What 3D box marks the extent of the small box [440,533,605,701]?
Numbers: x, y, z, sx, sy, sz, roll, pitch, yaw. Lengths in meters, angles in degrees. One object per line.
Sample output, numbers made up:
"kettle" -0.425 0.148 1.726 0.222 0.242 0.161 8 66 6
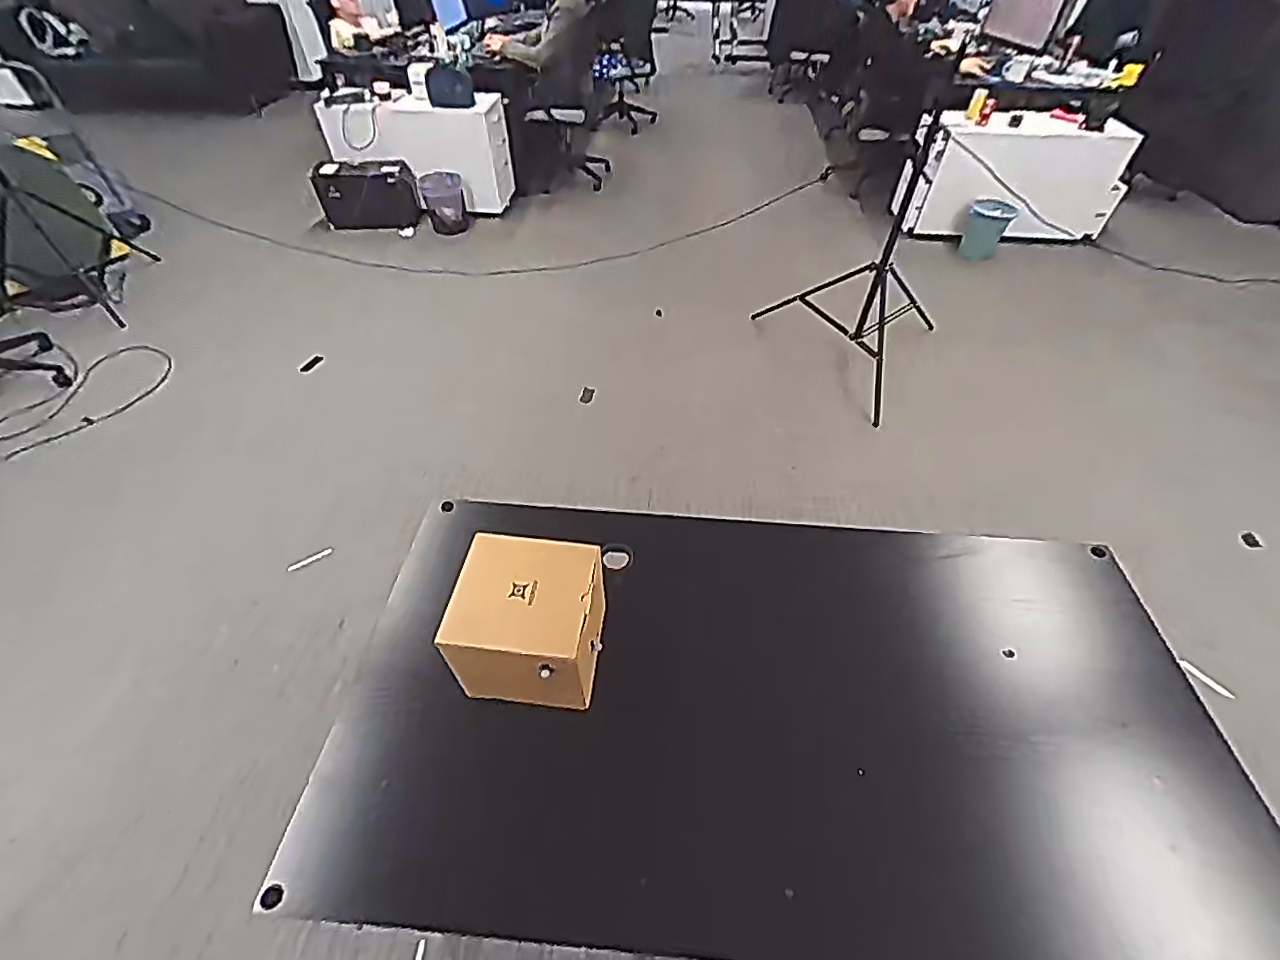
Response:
"small box" -0.149 0.195 0.761 0.179 0.176 0.168 5 48 3
